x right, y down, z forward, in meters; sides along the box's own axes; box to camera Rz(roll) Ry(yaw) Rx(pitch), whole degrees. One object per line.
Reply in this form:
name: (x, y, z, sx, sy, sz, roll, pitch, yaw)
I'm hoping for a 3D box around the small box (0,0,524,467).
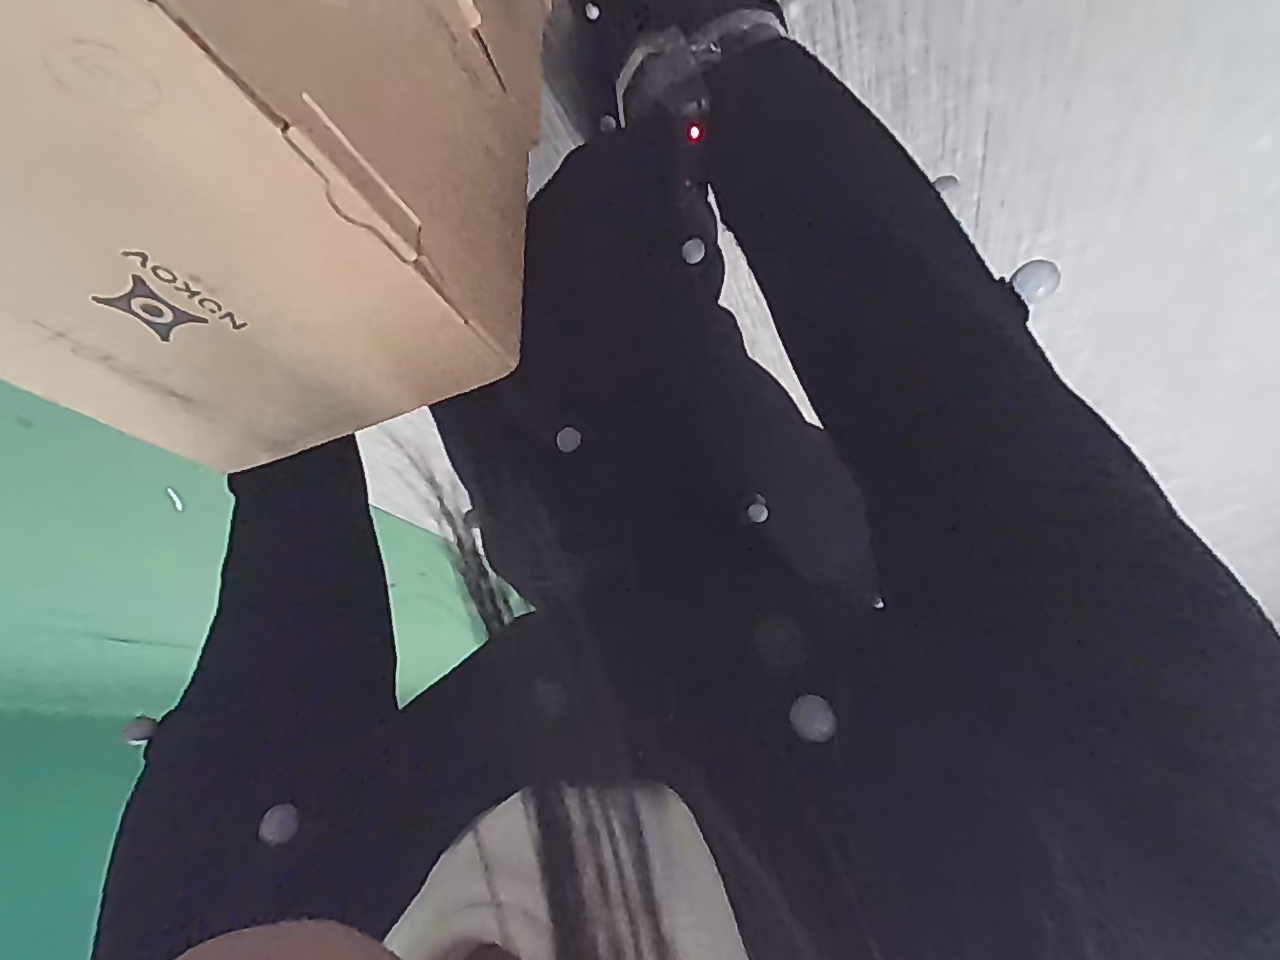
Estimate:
small box: (-0.165, -0.131, 0.227, 0.179, 0.176, 0.168, -14, 150, 19)
